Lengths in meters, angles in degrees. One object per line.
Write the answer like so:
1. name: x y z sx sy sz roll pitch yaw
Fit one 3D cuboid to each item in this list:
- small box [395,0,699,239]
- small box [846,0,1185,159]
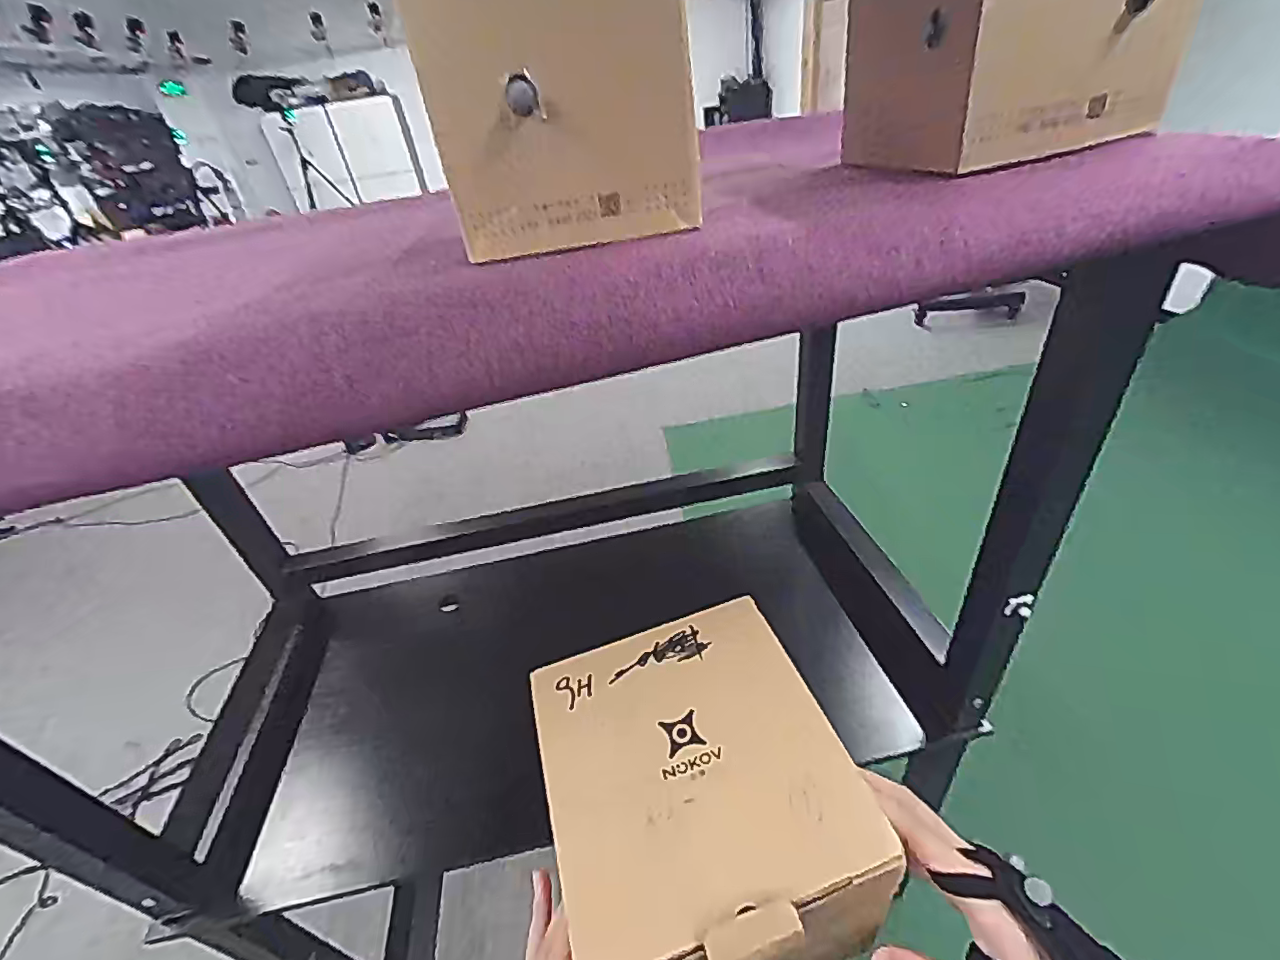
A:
1. small box: -0.053 -0.285 0.395 0.168 0.176 0.179 -8 34 1
2. small box: 0.280 -0.359 0.421 0.168 0.176 0.179 -13 34 -5
